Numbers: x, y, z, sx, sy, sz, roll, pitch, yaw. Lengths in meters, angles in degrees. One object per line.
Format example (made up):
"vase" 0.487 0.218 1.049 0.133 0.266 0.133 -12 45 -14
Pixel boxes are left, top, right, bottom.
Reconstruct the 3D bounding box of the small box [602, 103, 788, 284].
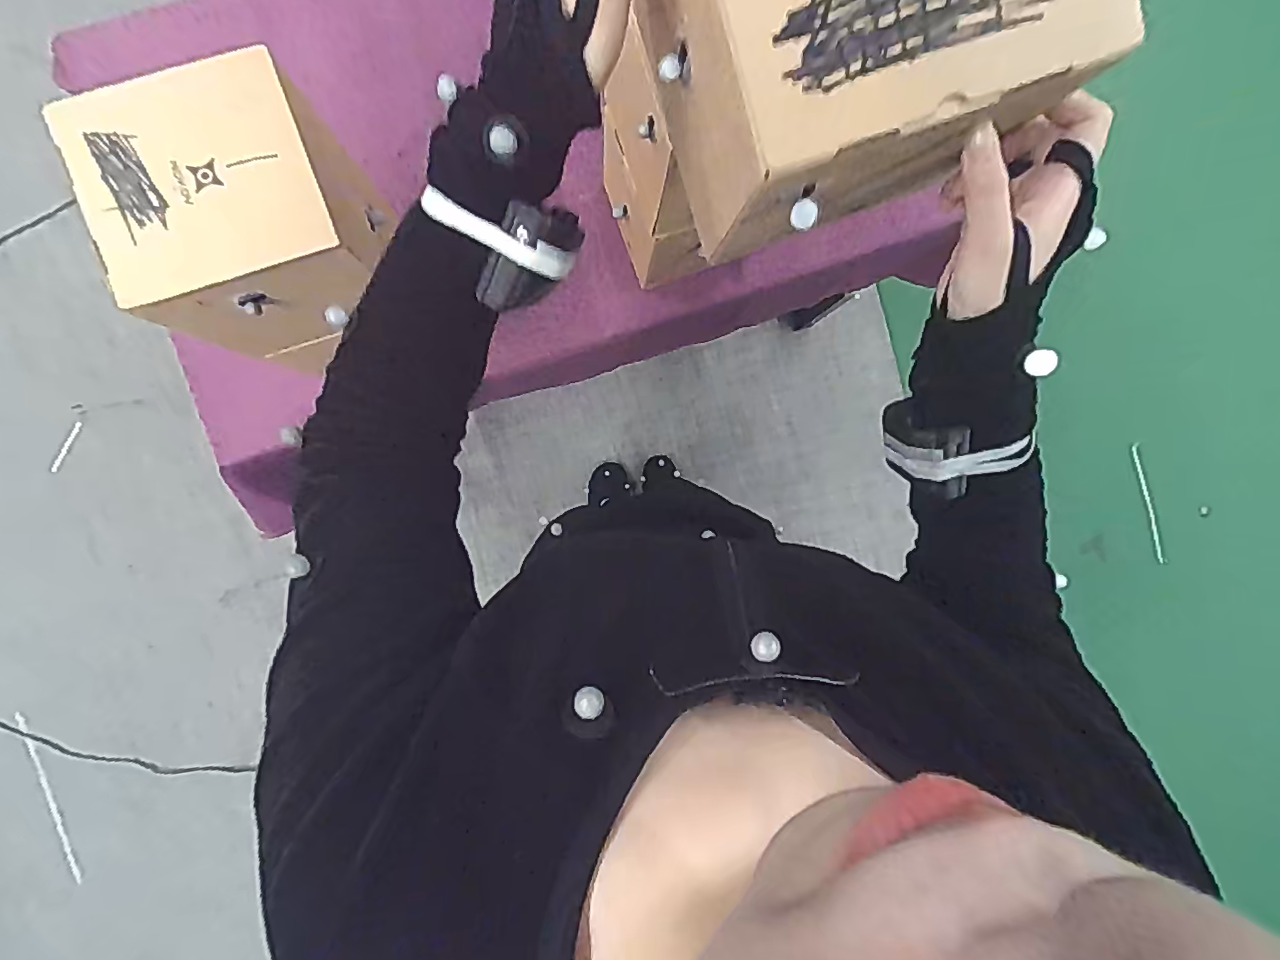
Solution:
"small box" 0.061 -0.377 0.694 0.179 0.176 0.168 -20 92 -3

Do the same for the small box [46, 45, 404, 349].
"small box" -0.352 -0.237 0.499 0.179 0.176 0.168 -19 92 -5

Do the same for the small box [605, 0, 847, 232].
"small box" 0.067 -0.381 0.531 0.168 0.176 0.179 -19 92 -4

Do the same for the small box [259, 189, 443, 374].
"small box" -0.364 -0.239 0.663 0.168 0.176 0.179 -19 92 -4
